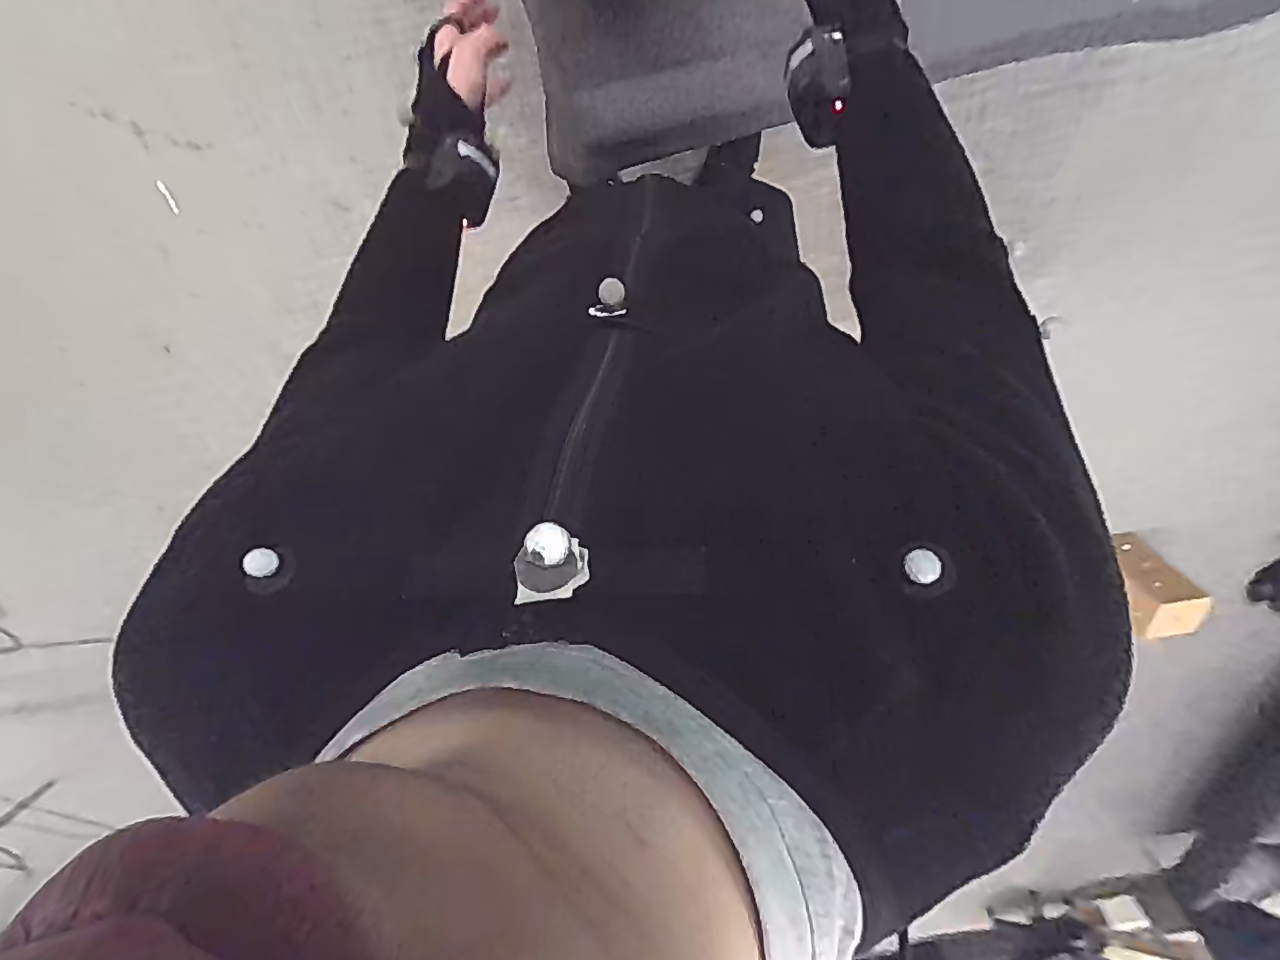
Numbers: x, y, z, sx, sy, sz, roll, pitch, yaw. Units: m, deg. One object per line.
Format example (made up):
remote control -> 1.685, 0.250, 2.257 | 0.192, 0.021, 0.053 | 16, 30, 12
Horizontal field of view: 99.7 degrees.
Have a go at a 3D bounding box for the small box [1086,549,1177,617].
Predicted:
small box -> 1.790, 0.369, 1.982 | 0.168, 0.176, 0.179 | -12, 123, 5

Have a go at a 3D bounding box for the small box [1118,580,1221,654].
small box -> 1.796, 0.460, 1.847 | 0.168, 0.176, 0.179 | -11, 125, 6
